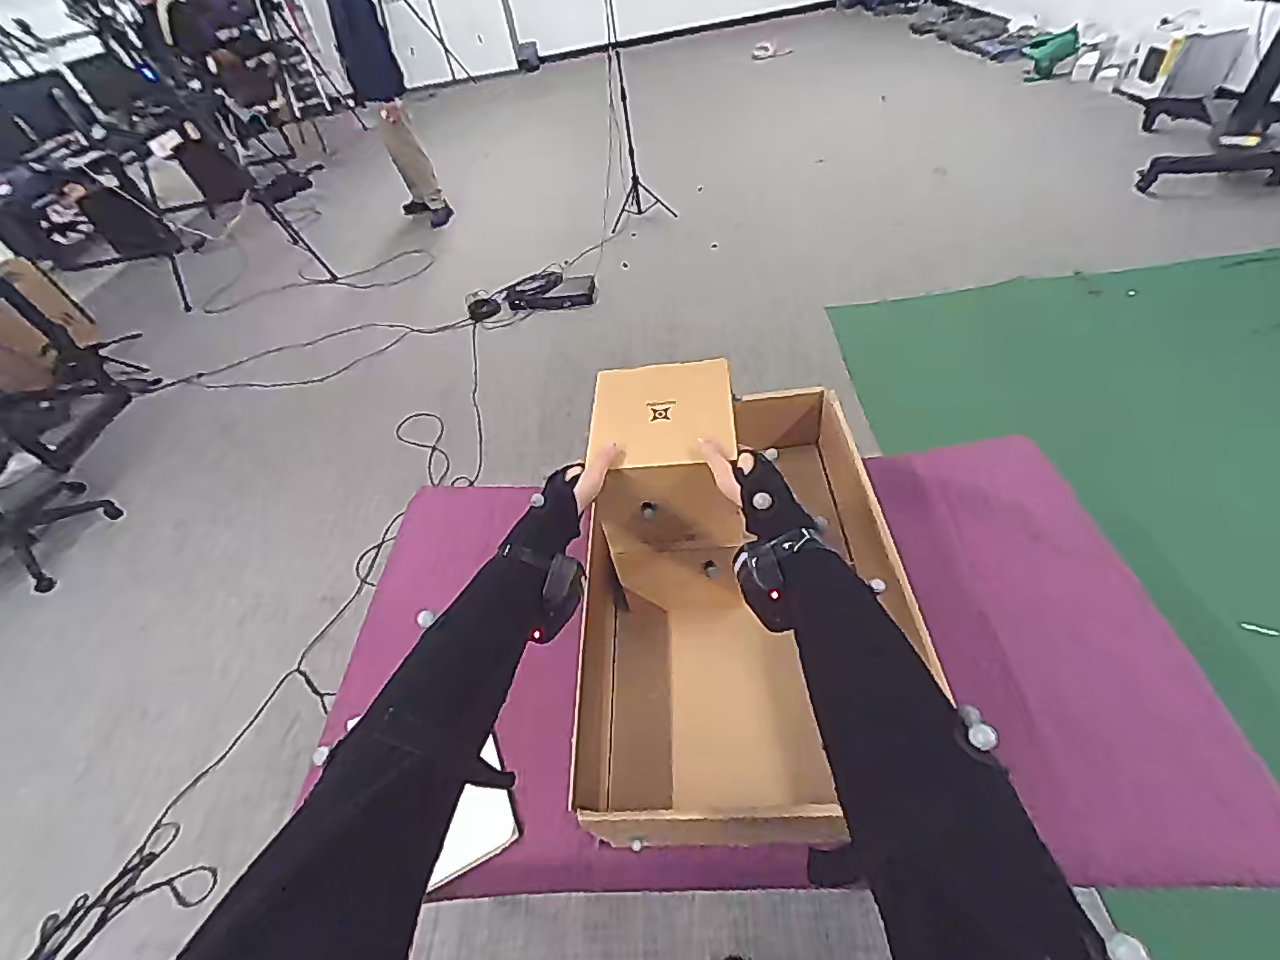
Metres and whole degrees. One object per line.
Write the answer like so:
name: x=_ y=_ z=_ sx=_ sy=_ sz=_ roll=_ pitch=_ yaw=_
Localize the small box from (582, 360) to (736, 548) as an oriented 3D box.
small box: x=0.032 y=-0.025 z=0.685 sx=0.168 sy=0.176 sz=0.179 roll=-4 pitch=48 yaw=7
